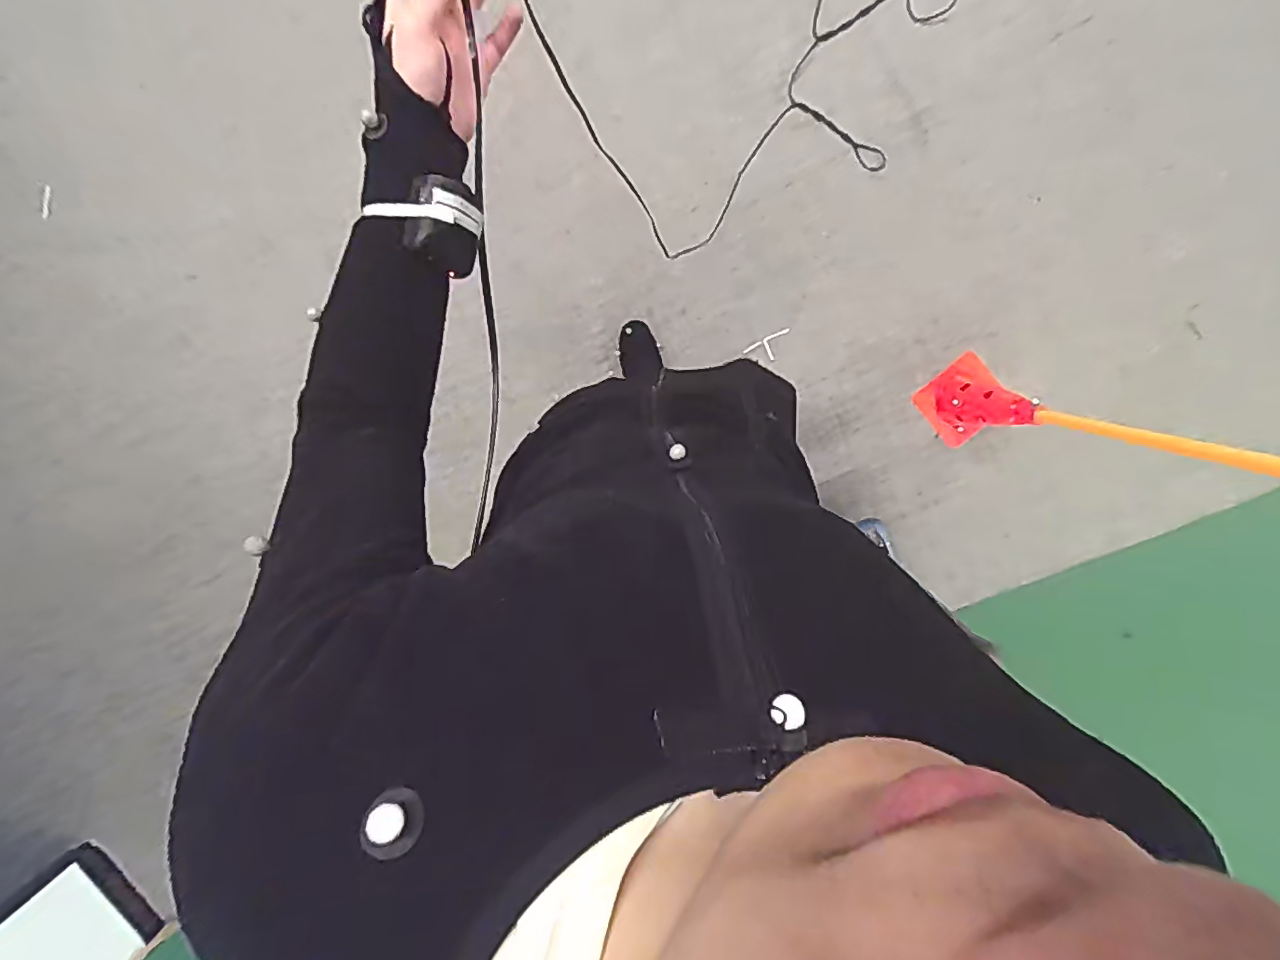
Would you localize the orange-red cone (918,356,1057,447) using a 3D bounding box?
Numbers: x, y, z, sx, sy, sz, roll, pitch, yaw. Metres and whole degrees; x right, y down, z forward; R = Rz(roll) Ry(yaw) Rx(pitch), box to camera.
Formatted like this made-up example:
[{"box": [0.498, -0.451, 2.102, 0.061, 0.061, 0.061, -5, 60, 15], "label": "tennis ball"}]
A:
[{"box": [0.884, -0.176, 1.322, 0.199, 0.360, 0.198, -40, 98, 11], "label": "orange-red cone"}]
